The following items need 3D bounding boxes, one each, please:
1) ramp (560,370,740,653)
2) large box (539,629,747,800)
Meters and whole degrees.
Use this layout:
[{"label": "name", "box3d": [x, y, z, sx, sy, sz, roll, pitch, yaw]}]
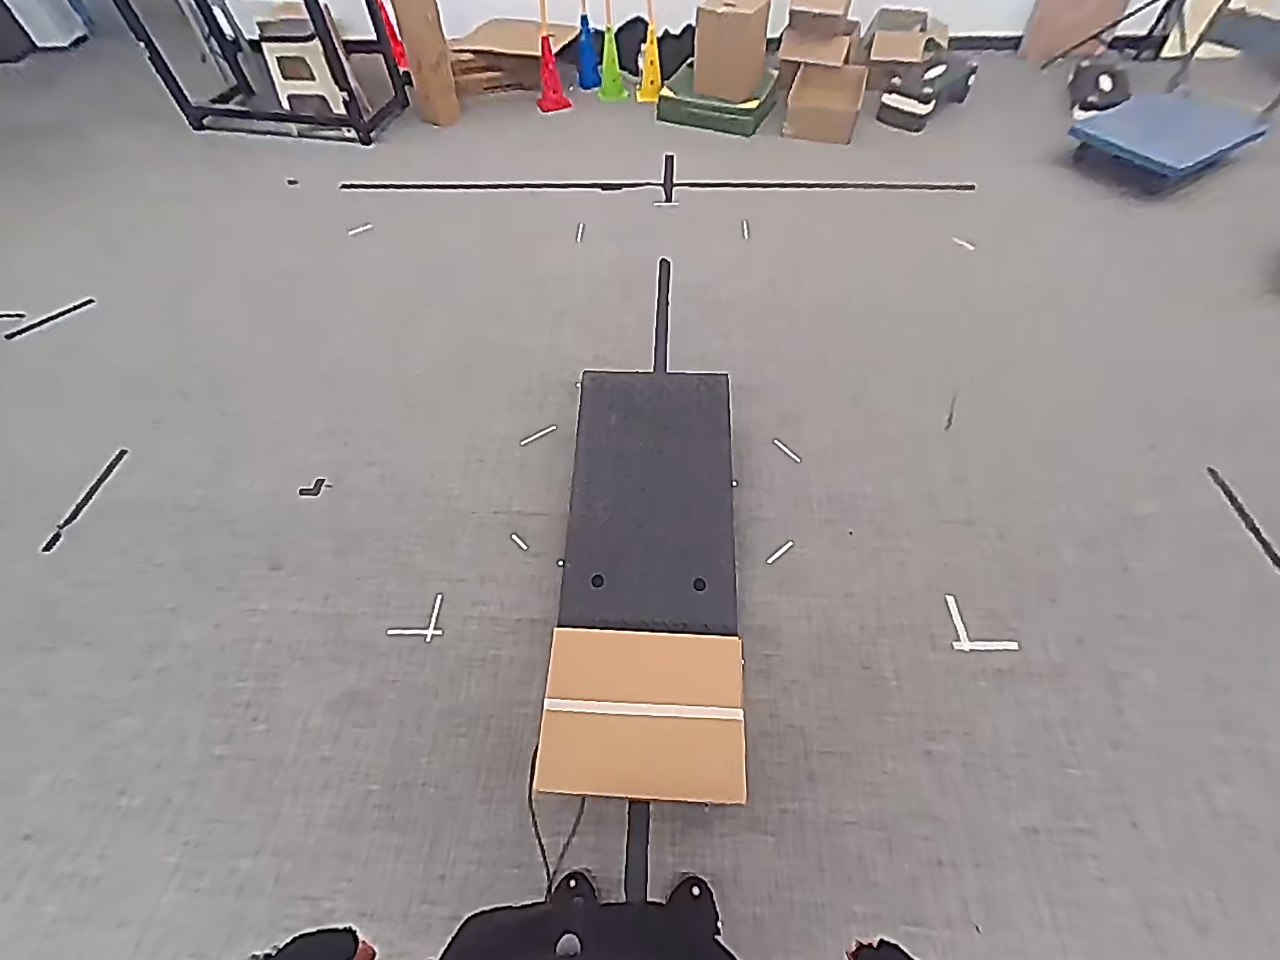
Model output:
[{"label": "ramp", "box3d": [0.039, 0.092, 1.616, 0.509, 0.206, 0.991, 1, 56, 0]}, {"label": "large box", "box3d": [0.015, 0.538, 1.229, 0.408, 0.320, 0.320, 2, 59, 2]}]
